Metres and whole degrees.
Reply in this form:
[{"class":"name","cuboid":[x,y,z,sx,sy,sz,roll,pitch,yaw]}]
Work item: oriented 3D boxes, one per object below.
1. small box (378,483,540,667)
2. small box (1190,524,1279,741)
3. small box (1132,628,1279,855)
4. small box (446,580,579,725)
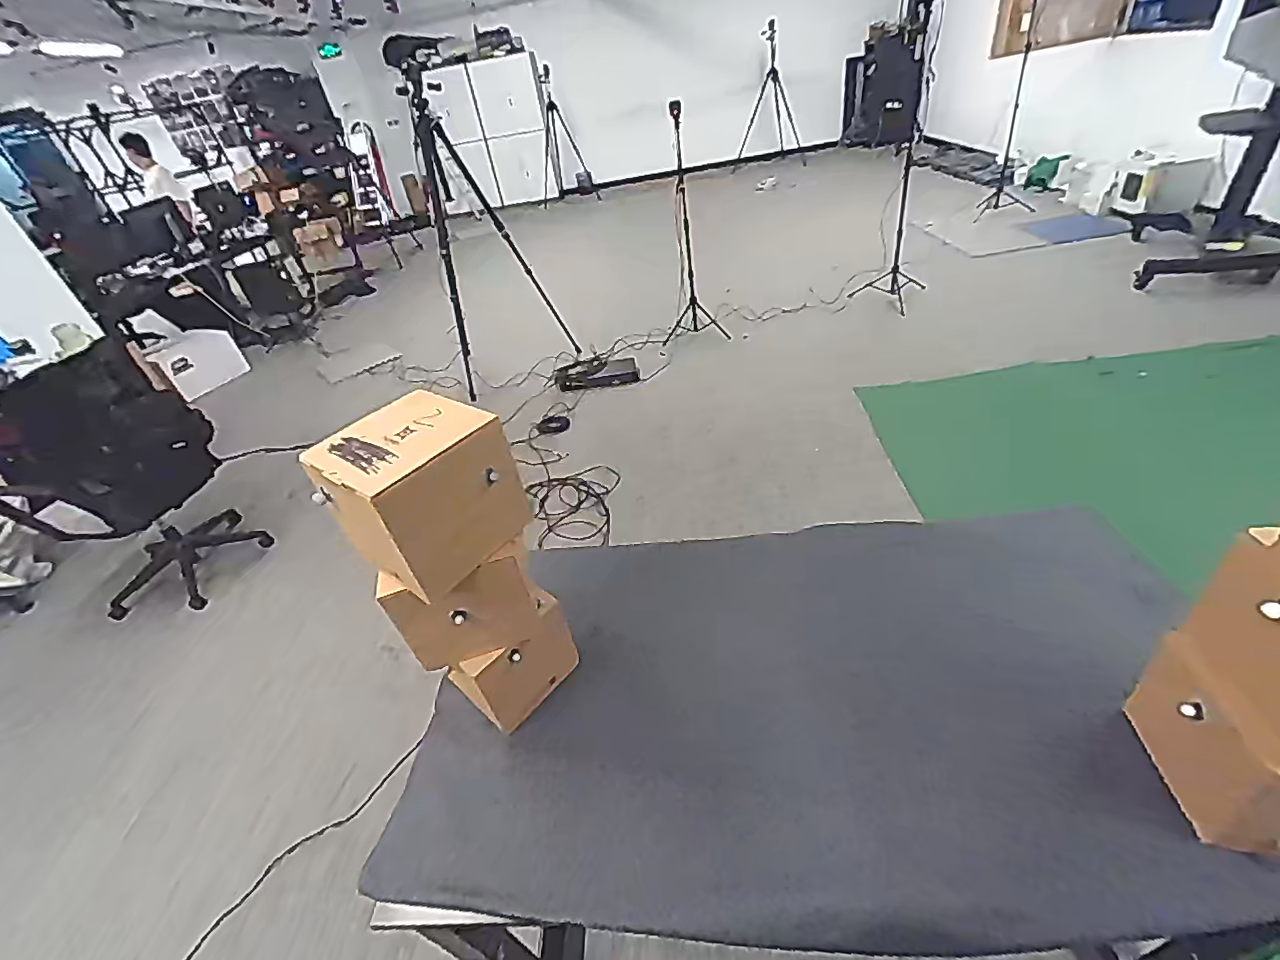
[{"class":"small box","cuboid":[-0.253,0.137,0.788,0.179,0.176,0.168,-18,39,-8]},{"class":"small box","cuboid":[0.698,0.157,0.512,0.168,0.176,0.179,-3,34,12]},{"class":"small box","cuboid":[0.710,0.290,0.604,0.168,0.176,0.179,-2,36,14]},{"class":"small box","cuboid":[-0.227,0.263,0.892,0.179,0.176,0.168,23,49,36]}]
